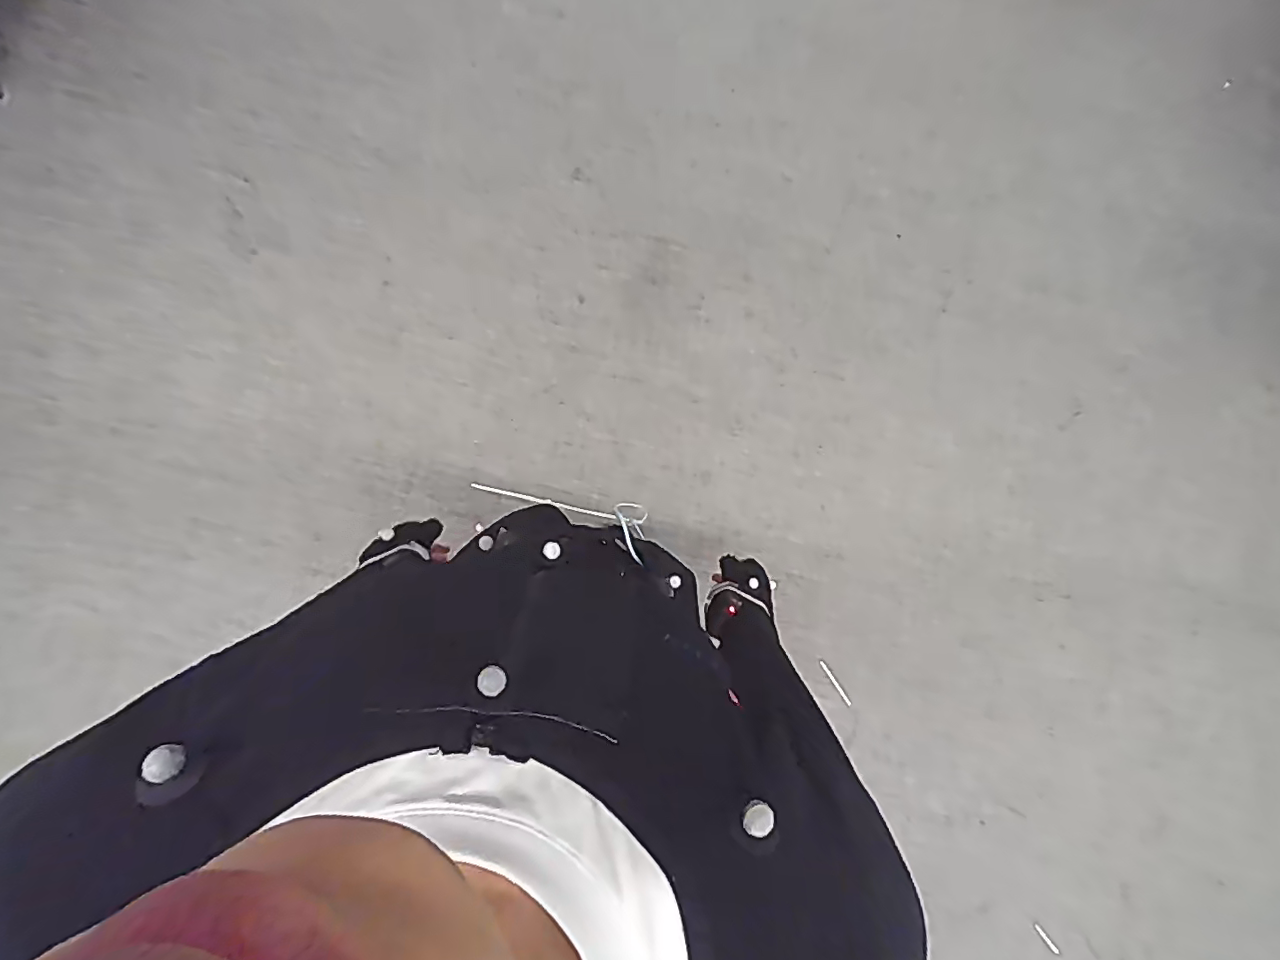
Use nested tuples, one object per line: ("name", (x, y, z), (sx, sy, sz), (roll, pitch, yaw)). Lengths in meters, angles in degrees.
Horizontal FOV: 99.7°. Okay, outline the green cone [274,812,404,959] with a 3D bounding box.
("green cone", (-0.704, 0.947, 1.205), (0.202, 0.368, 0.200), (12, 85, -3))
